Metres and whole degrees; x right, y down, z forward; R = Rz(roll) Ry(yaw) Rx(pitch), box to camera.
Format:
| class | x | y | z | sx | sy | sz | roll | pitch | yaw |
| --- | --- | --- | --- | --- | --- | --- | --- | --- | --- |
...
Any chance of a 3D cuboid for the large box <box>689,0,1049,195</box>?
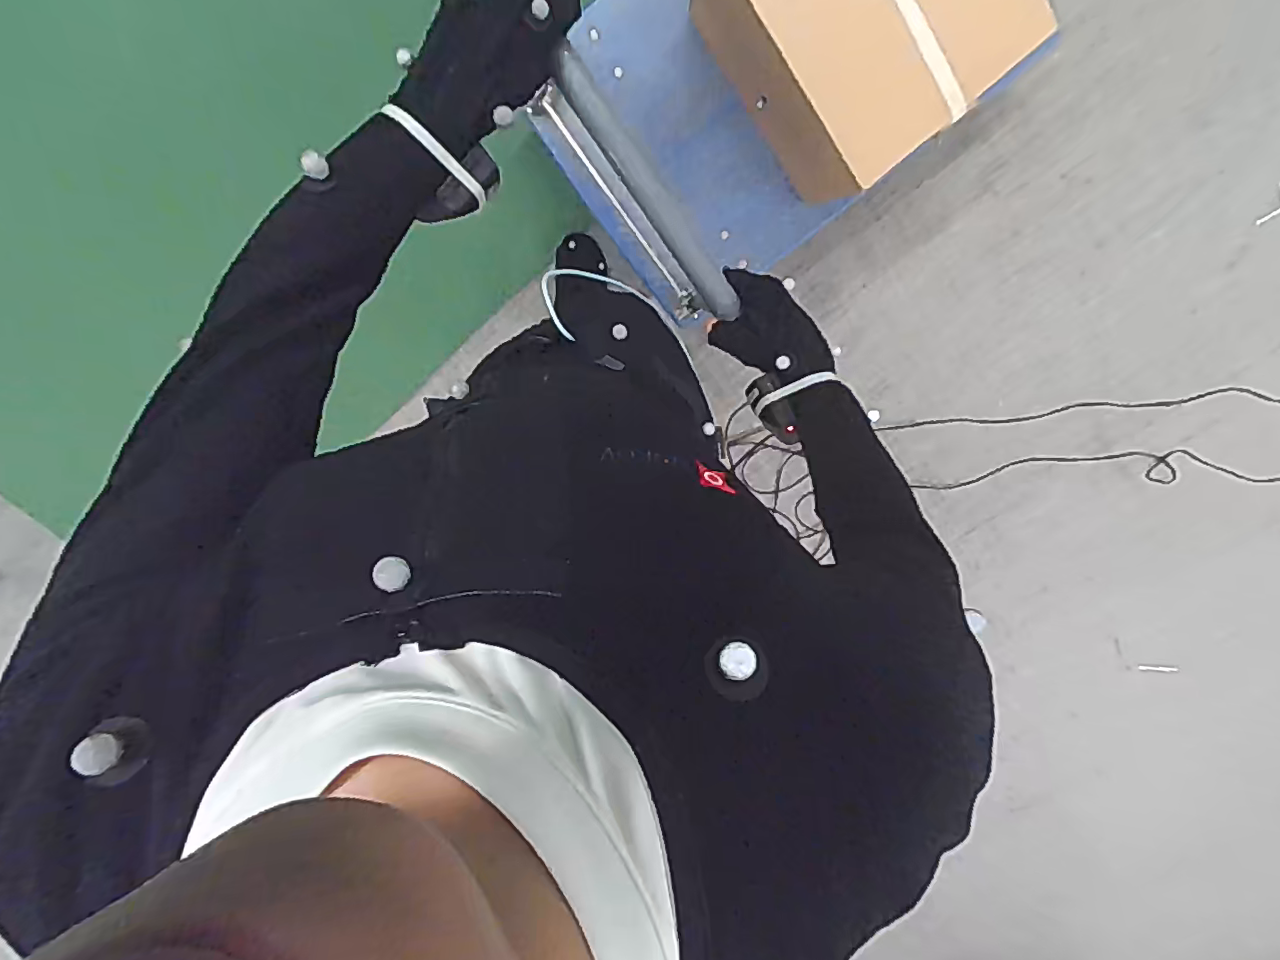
| class | x | y | z | sx | sy | sz | roll | pitch | yaw |
| --- | --- | --- | --- | --- | --- | --- | --- | --- | --- |
| large box | 0.326 | -0.741 | 0.863 | 0.320 | 0.320 | 0.408 | -37 | 108 | 14 |
